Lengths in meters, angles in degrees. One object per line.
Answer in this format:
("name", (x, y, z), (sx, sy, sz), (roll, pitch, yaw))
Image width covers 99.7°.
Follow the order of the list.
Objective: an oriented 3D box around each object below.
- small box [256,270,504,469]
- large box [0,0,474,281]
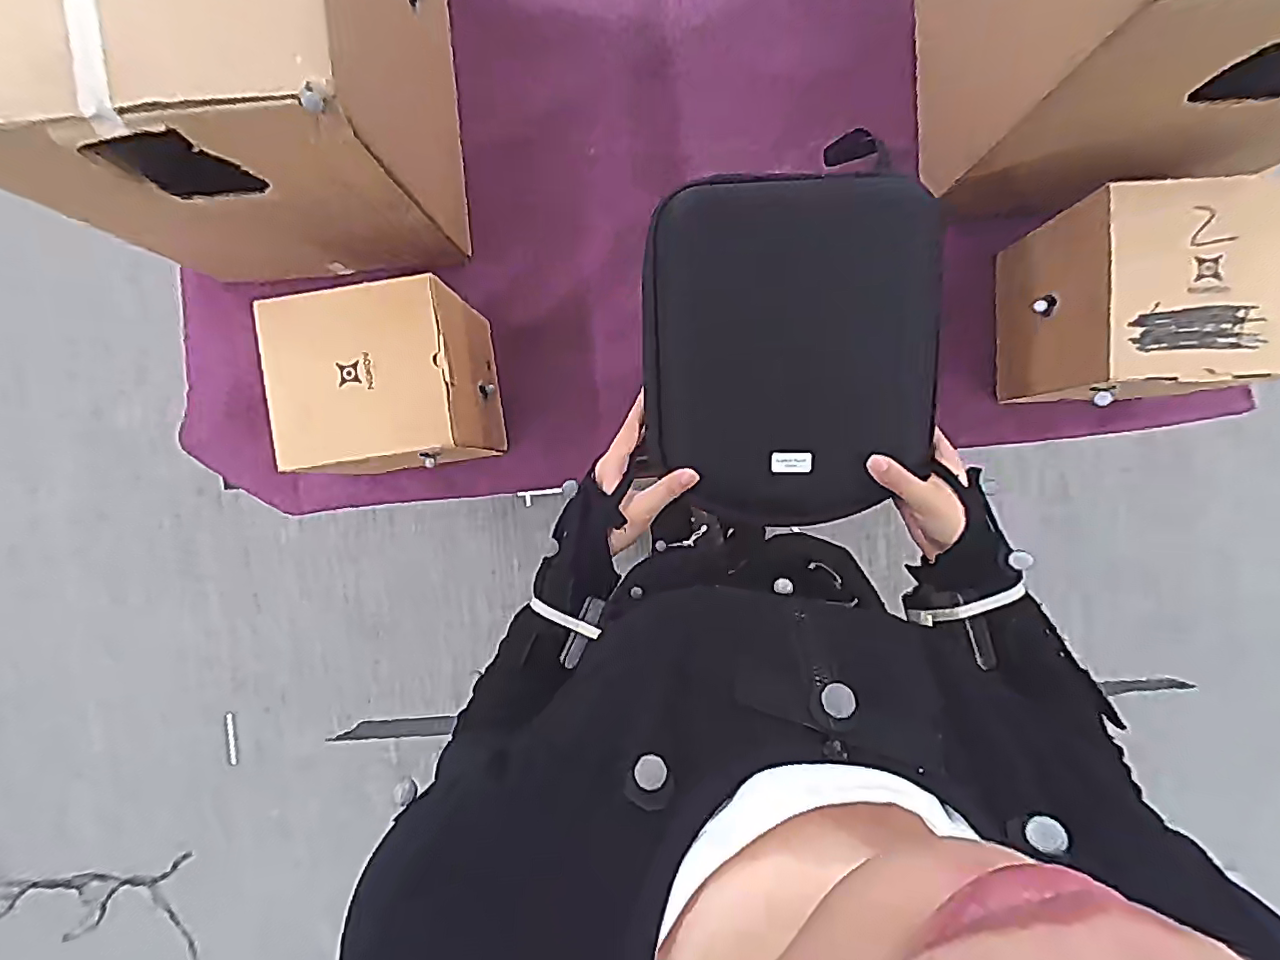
("small box", (-0.266, -0.105, 0.590), (0.179, 0.176, 0.168), (-9, 90, 2))
("large box", (-0.374, -0.448, 0.513), (0.320, 0.320, 0.408), (-6, 94, 1))
